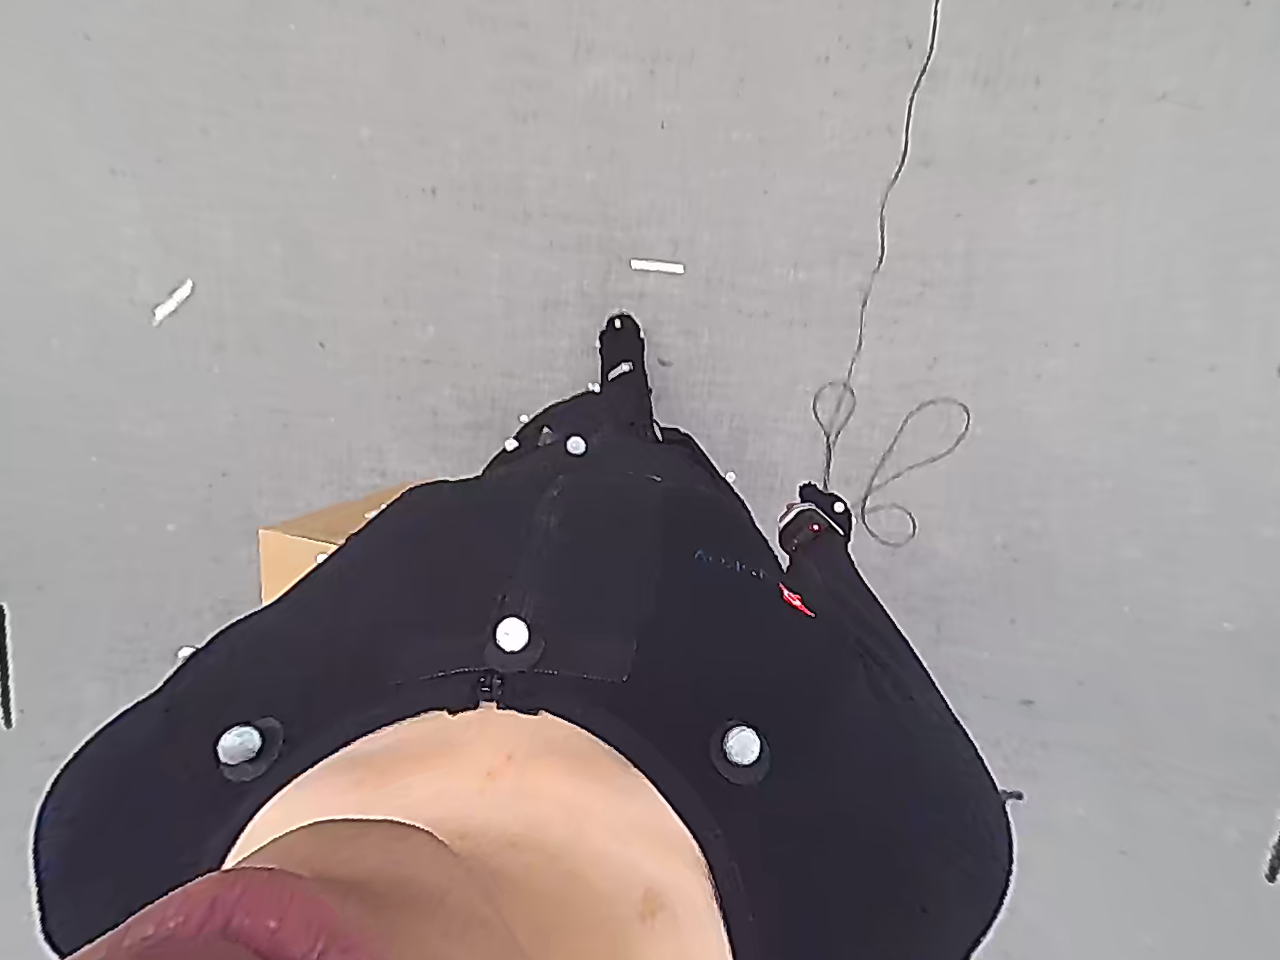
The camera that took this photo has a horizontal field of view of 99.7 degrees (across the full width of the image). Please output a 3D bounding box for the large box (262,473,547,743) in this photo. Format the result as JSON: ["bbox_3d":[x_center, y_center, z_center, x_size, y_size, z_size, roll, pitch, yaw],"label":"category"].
[{"bbox_3d":[-0.397,0.195,1.002,0.320,0.408,0.320,9,103,12],"label":"large box"}]
